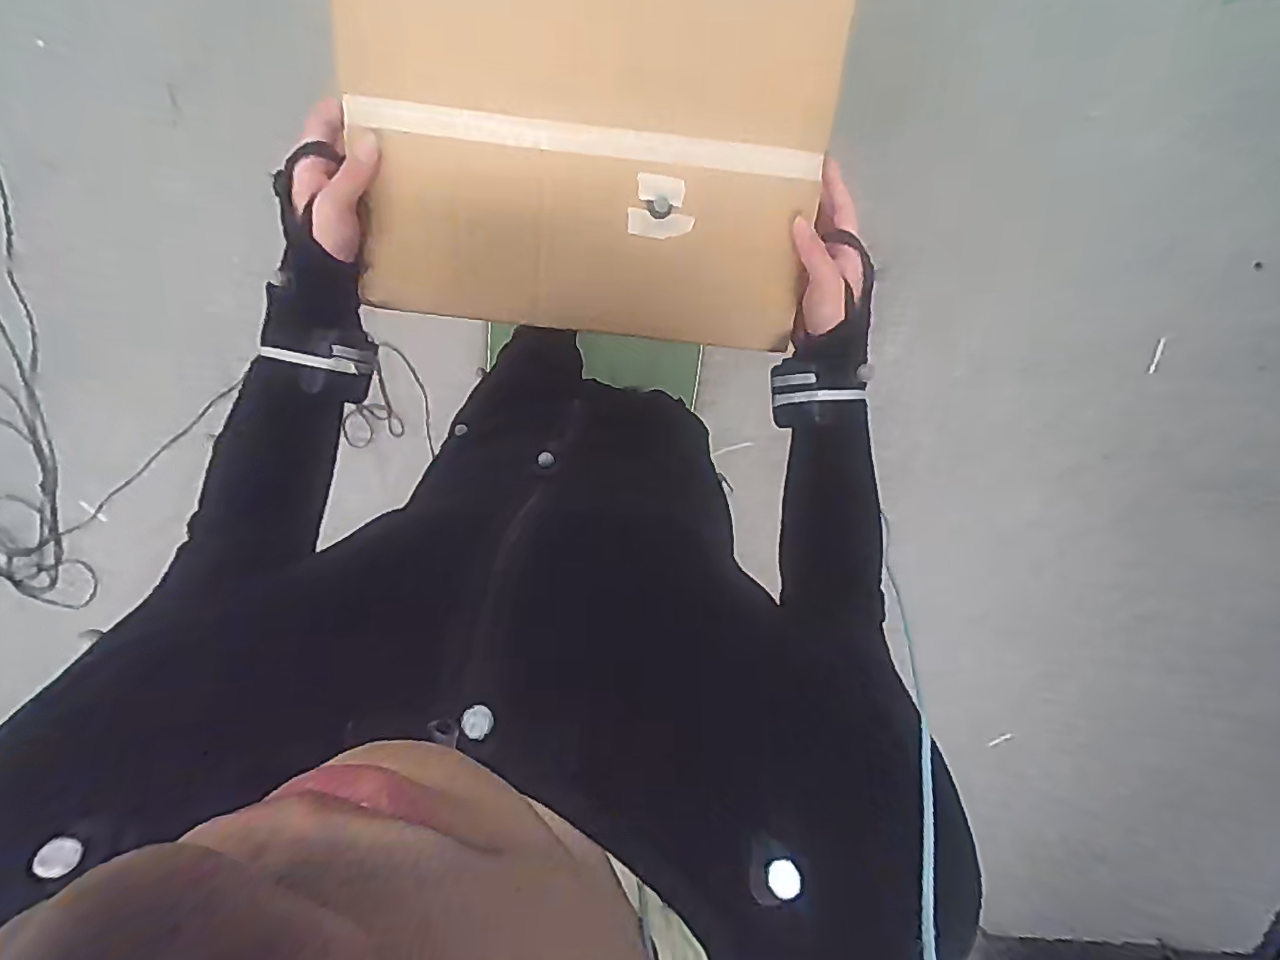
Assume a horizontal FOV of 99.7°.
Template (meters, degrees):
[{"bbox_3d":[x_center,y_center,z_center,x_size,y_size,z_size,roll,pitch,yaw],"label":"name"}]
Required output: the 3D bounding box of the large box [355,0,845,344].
[{"bbox_3d":[-0.046,-0.342,0.613,0.408,0.320,0.320,5,110,-3],"label":"large box"}]
